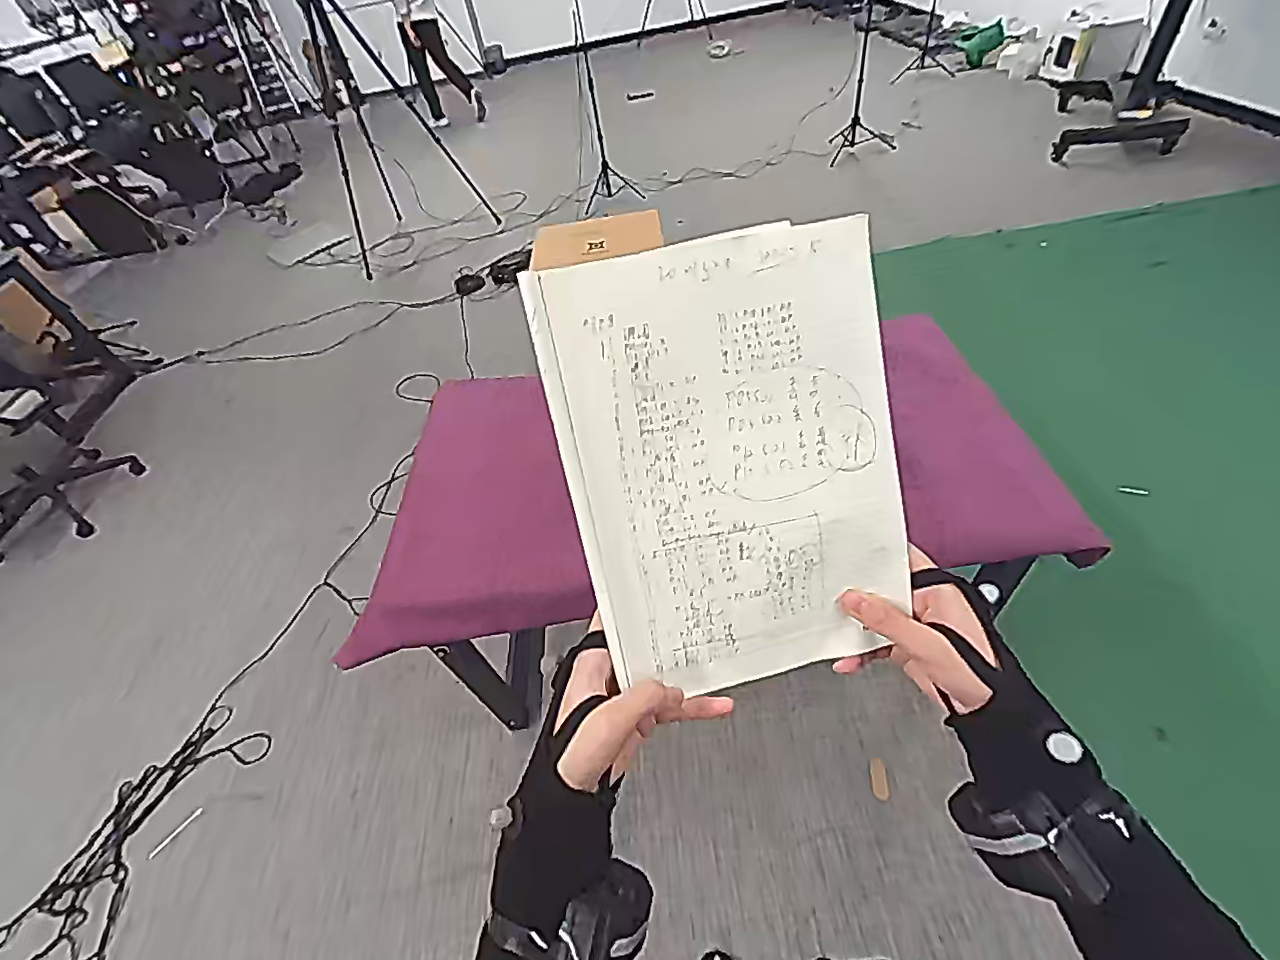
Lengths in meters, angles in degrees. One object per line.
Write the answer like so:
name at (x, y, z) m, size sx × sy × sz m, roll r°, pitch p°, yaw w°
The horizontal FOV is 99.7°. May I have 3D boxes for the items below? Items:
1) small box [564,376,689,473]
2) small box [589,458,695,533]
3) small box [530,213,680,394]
small box at (-0.016, -0.124, 0.851) m, size 0.168 × 0.176 × 0.179 m, roll -7°, pitch 46°, yaw 4°
small box at (0.007, -0.018, 0.975) m, size 0.168 × 0.176 × 0.179 m, roll -7°, pitch 48°, yaw 4°
small box at (-0.038, -0.230, 0.729) m, size 0.168 × 0.176 × 0.179 m, roll -6°, pitch 47°, yaw 4°
